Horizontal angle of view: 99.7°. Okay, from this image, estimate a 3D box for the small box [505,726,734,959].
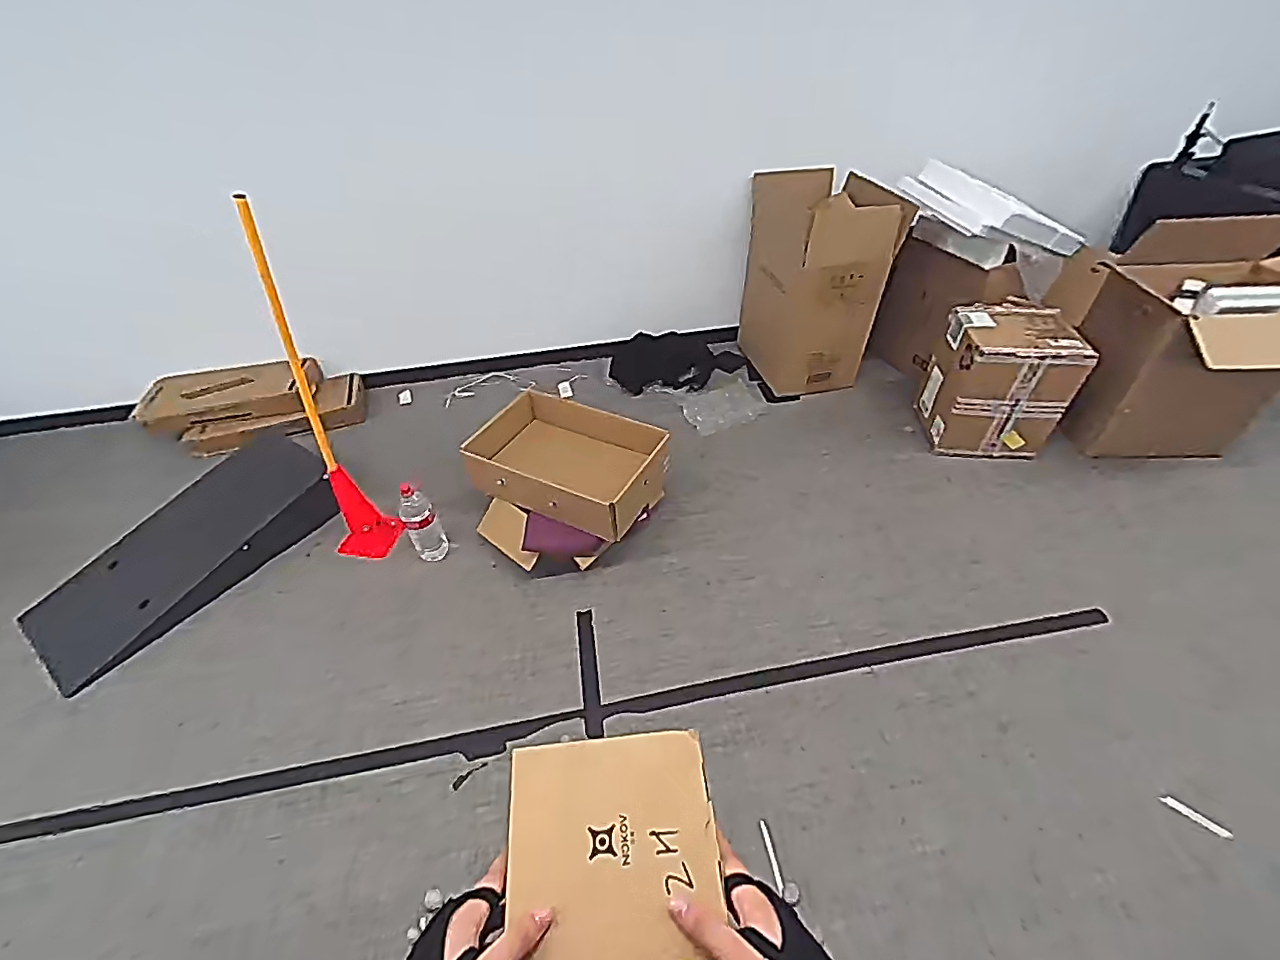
[{"bbox_3d":[-0.020,0.353,0.514,0.179,0.176,0.168,-4,49,-4],"label":"small box"}]
